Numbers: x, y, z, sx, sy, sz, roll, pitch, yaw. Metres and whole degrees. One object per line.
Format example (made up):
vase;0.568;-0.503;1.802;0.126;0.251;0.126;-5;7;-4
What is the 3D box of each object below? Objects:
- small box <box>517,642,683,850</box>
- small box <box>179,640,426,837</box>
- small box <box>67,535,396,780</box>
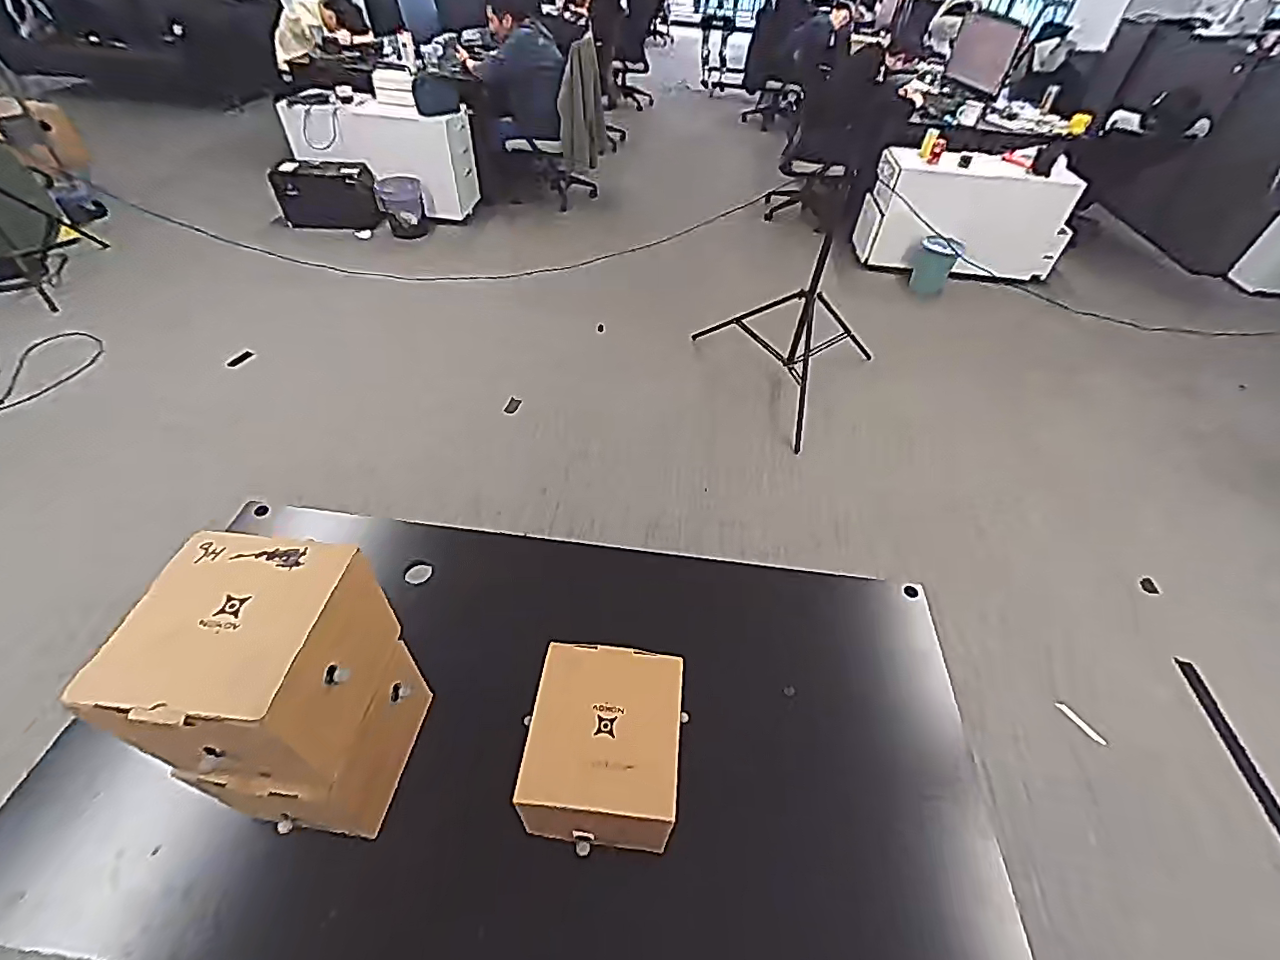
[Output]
small box;-0.040;0.323;0.657;0.168;0.176;0.179;4;47;2
small box;-0.377;0.301;0.652;0.168;0.176;0.179;7;46;3
small box;-0.371;0.180;0.540;0.168;0.176;0.179;5;47;1
